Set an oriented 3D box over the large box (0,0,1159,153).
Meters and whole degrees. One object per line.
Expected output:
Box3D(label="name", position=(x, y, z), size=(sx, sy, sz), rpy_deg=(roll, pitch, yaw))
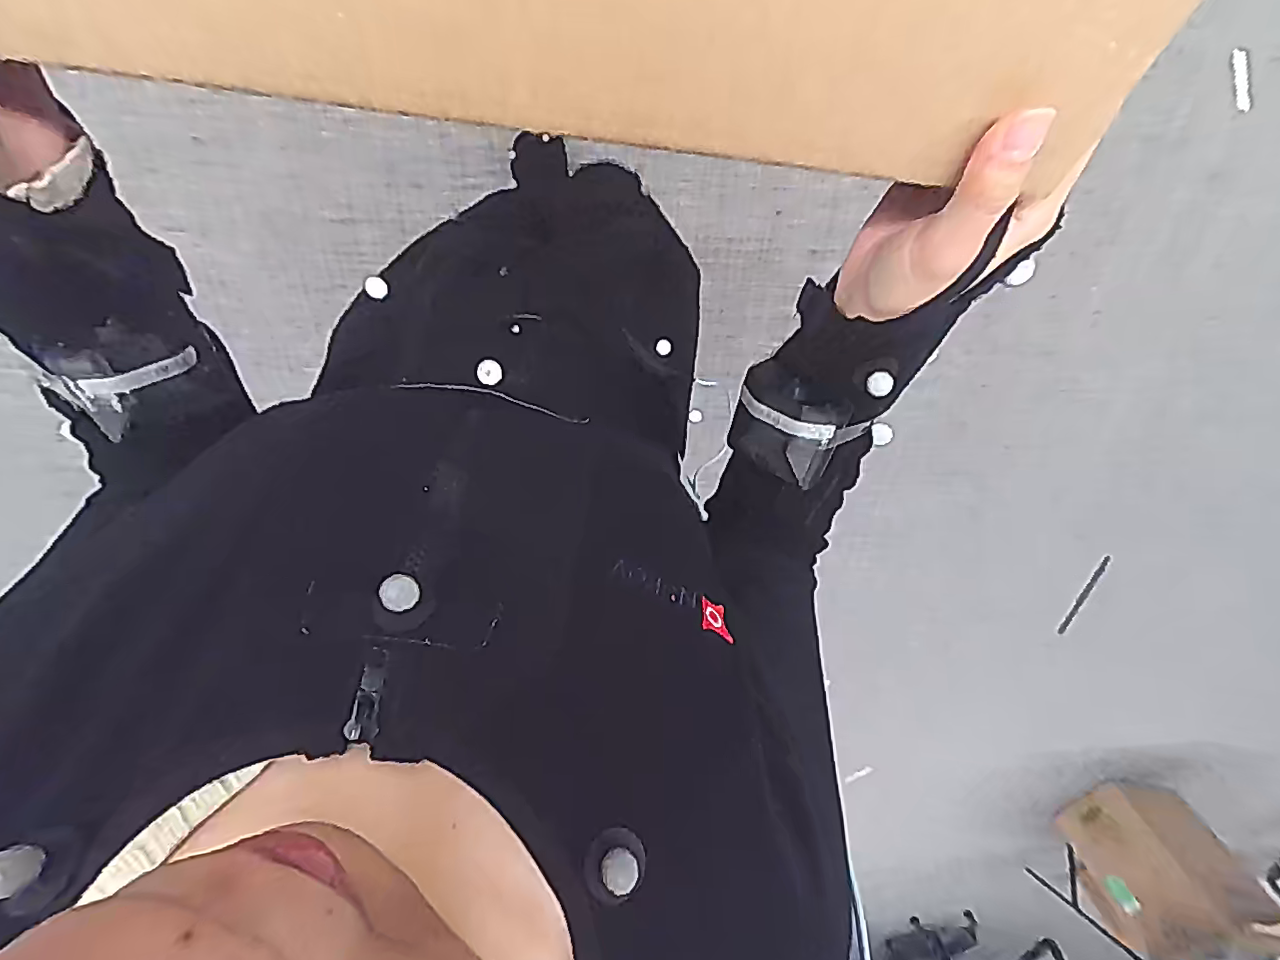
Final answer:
Box3D(label="large box", position=(-0.029, -0.340, 0.147), size=(0.408, 0.320, 0.320), rpy_deg=(3, 145, -6))
